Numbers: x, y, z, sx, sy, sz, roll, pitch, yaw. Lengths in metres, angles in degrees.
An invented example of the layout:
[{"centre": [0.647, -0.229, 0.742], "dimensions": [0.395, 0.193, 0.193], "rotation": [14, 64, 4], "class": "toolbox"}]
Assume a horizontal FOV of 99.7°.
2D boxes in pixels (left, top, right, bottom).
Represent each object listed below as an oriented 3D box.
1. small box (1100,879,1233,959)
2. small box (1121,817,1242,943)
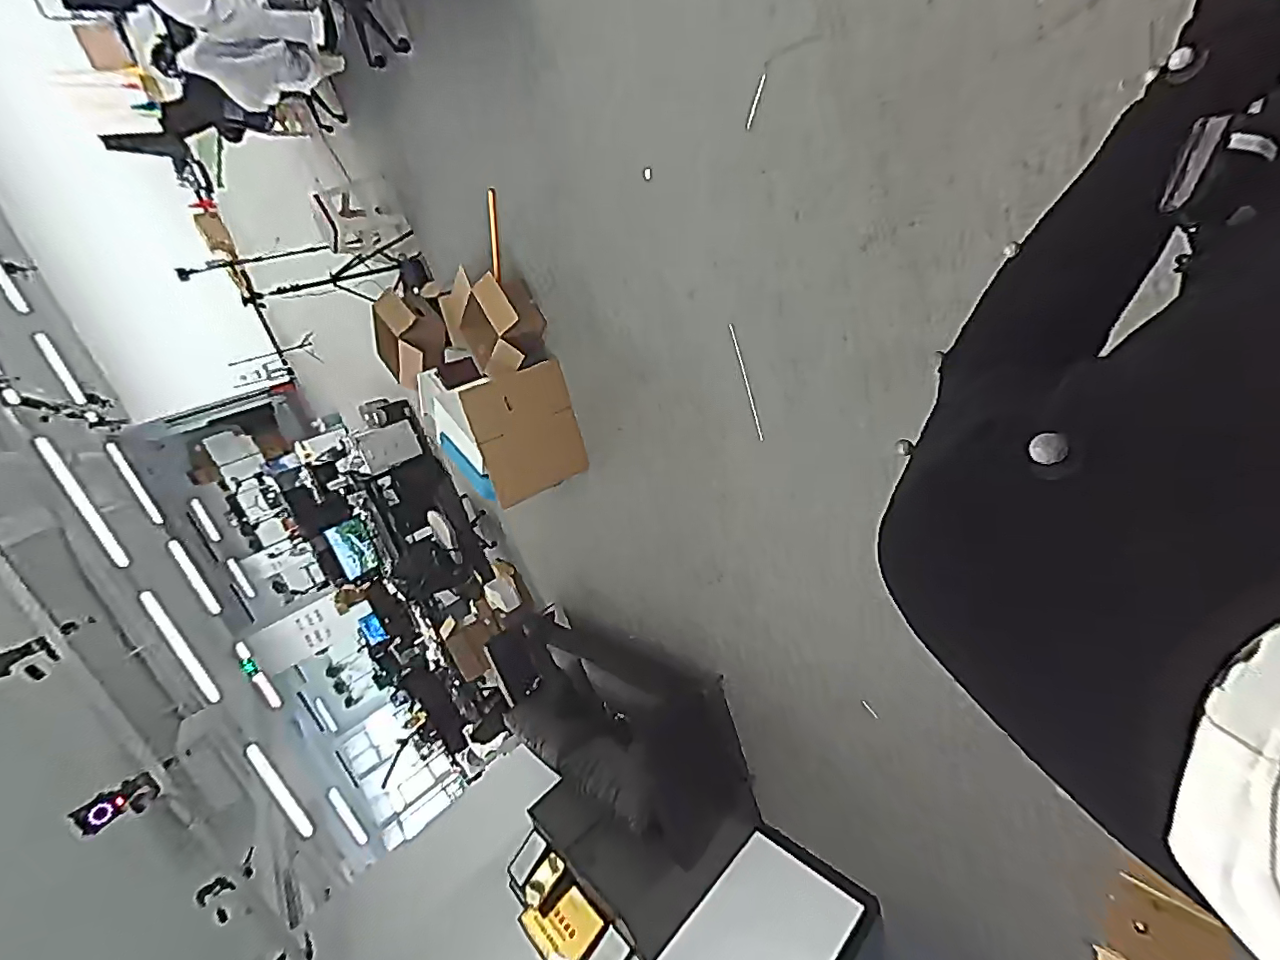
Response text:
[{"centre": [1.013, 0.937, 1.047], "dimensions": [0.168, 0.176, 0.179], "rotation": [11, 125, 49], "class": "small box"}, {"centre": [1.128, 0.863, 1.136], "dimensions": [0.168, 0.176, 0.179], "rotation": [11, 124, 48], "class": "small box"}]
